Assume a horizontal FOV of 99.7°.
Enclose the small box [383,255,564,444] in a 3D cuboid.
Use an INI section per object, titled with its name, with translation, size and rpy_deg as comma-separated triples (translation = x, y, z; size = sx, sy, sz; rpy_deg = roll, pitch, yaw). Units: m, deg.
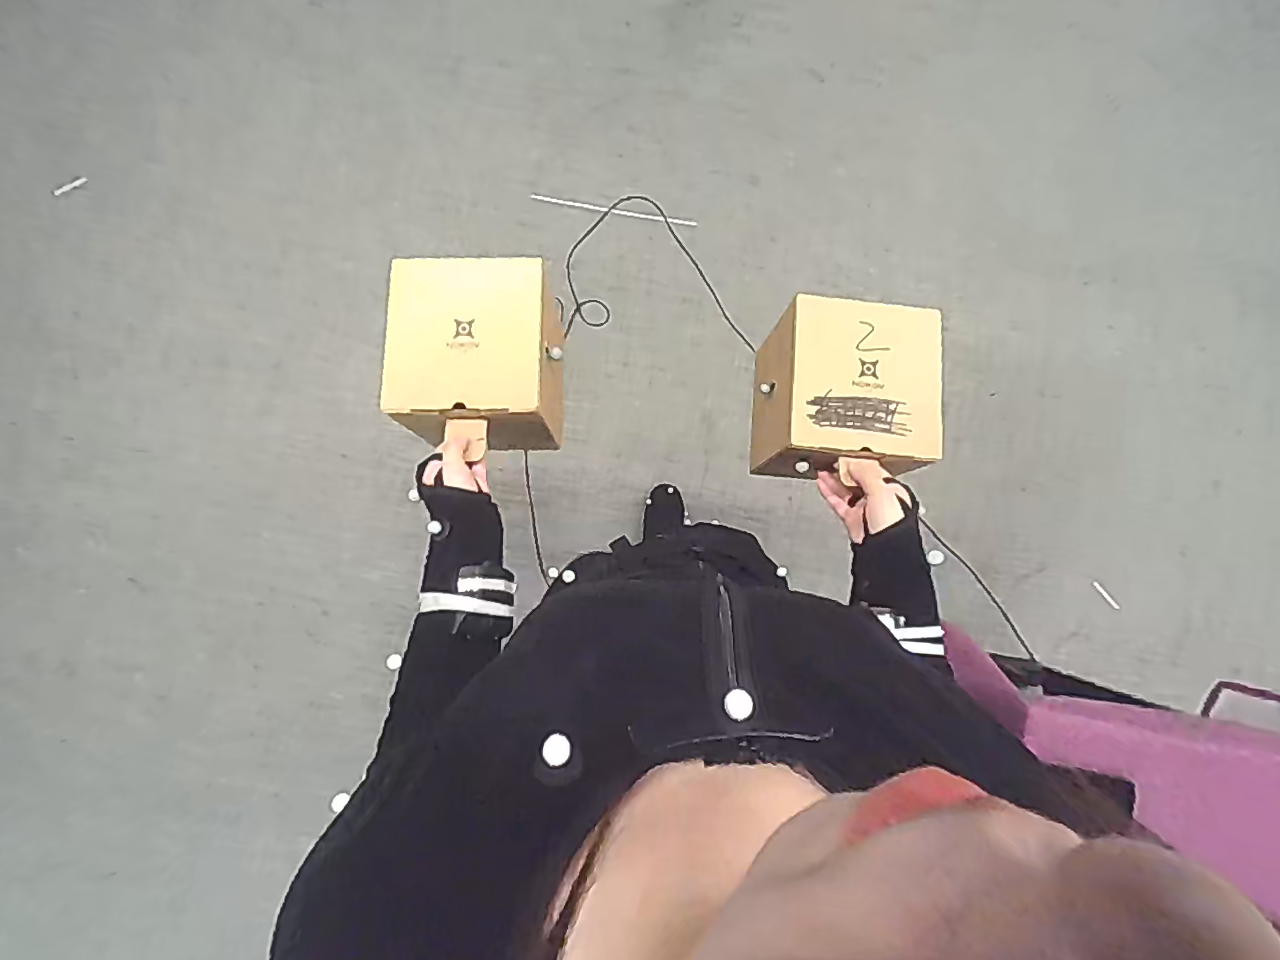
[small box]
translation = -0.187, -0.148, 0.658
size = 0.168, 0.176, 0.179
rpy_deg = 0, 81, 0
